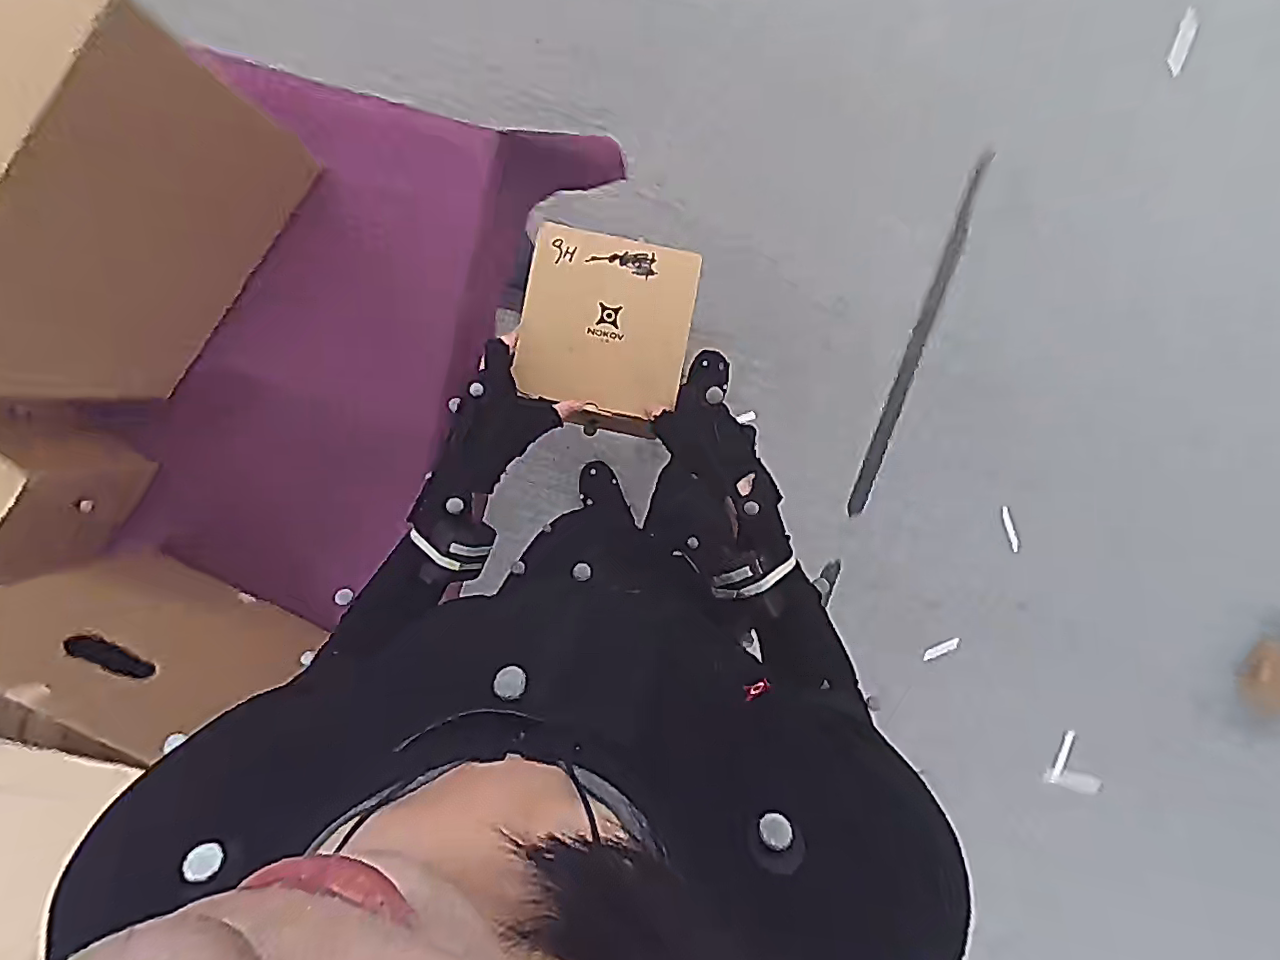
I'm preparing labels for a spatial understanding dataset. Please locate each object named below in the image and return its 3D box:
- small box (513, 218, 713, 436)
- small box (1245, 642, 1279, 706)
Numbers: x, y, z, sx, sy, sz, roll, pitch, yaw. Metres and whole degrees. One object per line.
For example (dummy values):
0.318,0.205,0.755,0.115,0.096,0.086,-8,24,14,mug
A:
-0.028,-0.150,0.599,0.168,0.176,0.179,12,90,-2,small box
1.884,0.574,1.508,0.179,0.176,0.168,16,95,-1,small box
